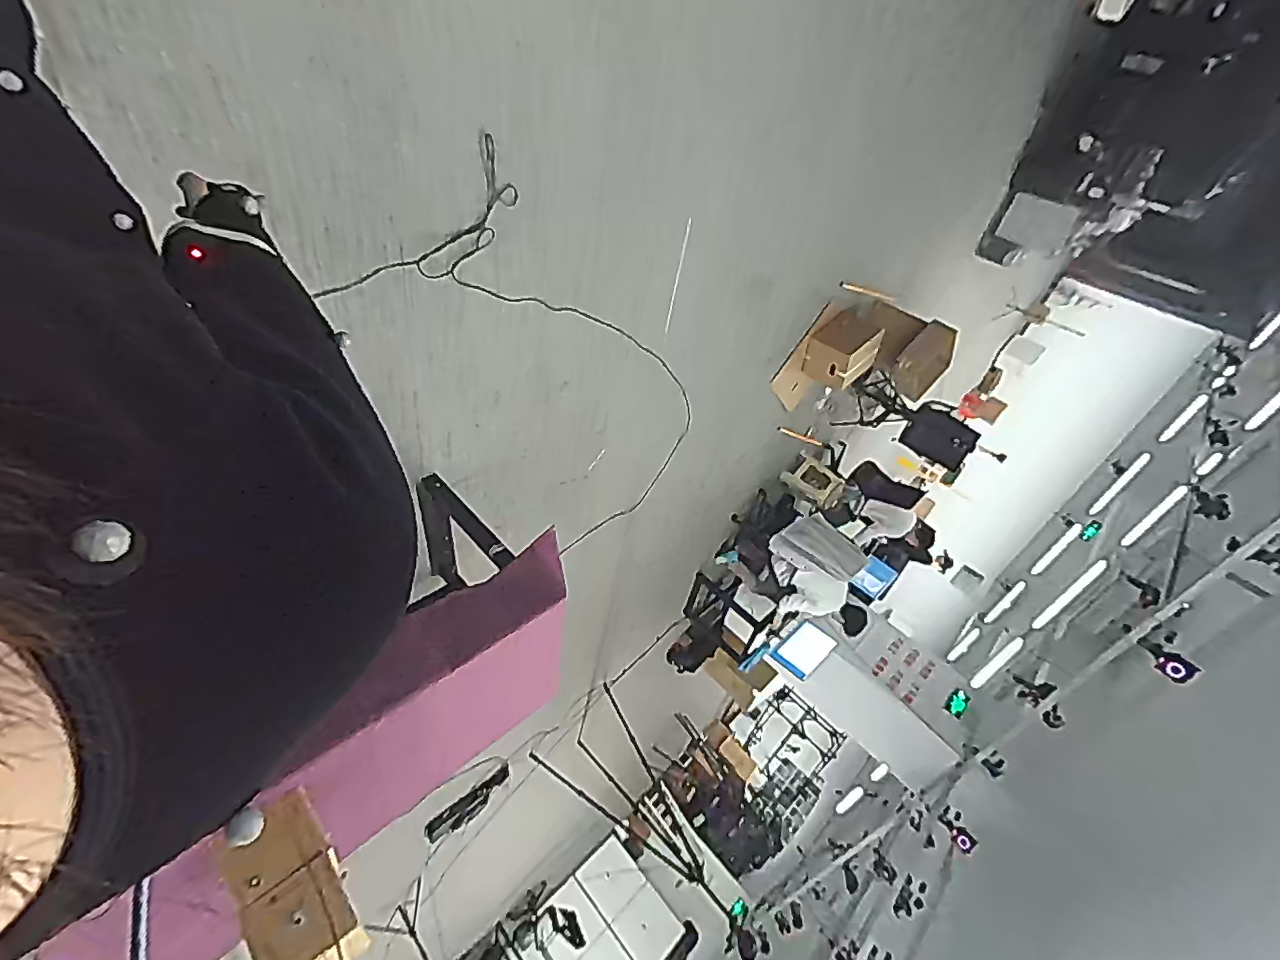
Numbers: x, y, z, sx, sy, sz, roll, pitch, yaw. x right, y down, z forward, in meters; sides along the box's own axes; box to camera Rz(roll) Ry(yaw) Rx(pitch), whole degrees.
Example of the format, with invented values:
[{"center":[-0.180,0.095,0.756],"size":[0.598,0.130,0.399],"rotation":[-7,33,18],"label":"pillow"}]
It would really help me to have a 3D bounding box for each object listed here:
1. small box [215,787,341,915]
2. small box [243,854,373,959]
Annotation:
[{"center":[-0.786,0.821,1.183],"size":[0.179,0.176,0.168],"rotation":[-23,141,-41],"label":"small box"},{"center":[-0.676,0.913,1.104],"size":[0.168,0.176,0.179],"rotation":[-26,142,-38],"label":"small box"}]
